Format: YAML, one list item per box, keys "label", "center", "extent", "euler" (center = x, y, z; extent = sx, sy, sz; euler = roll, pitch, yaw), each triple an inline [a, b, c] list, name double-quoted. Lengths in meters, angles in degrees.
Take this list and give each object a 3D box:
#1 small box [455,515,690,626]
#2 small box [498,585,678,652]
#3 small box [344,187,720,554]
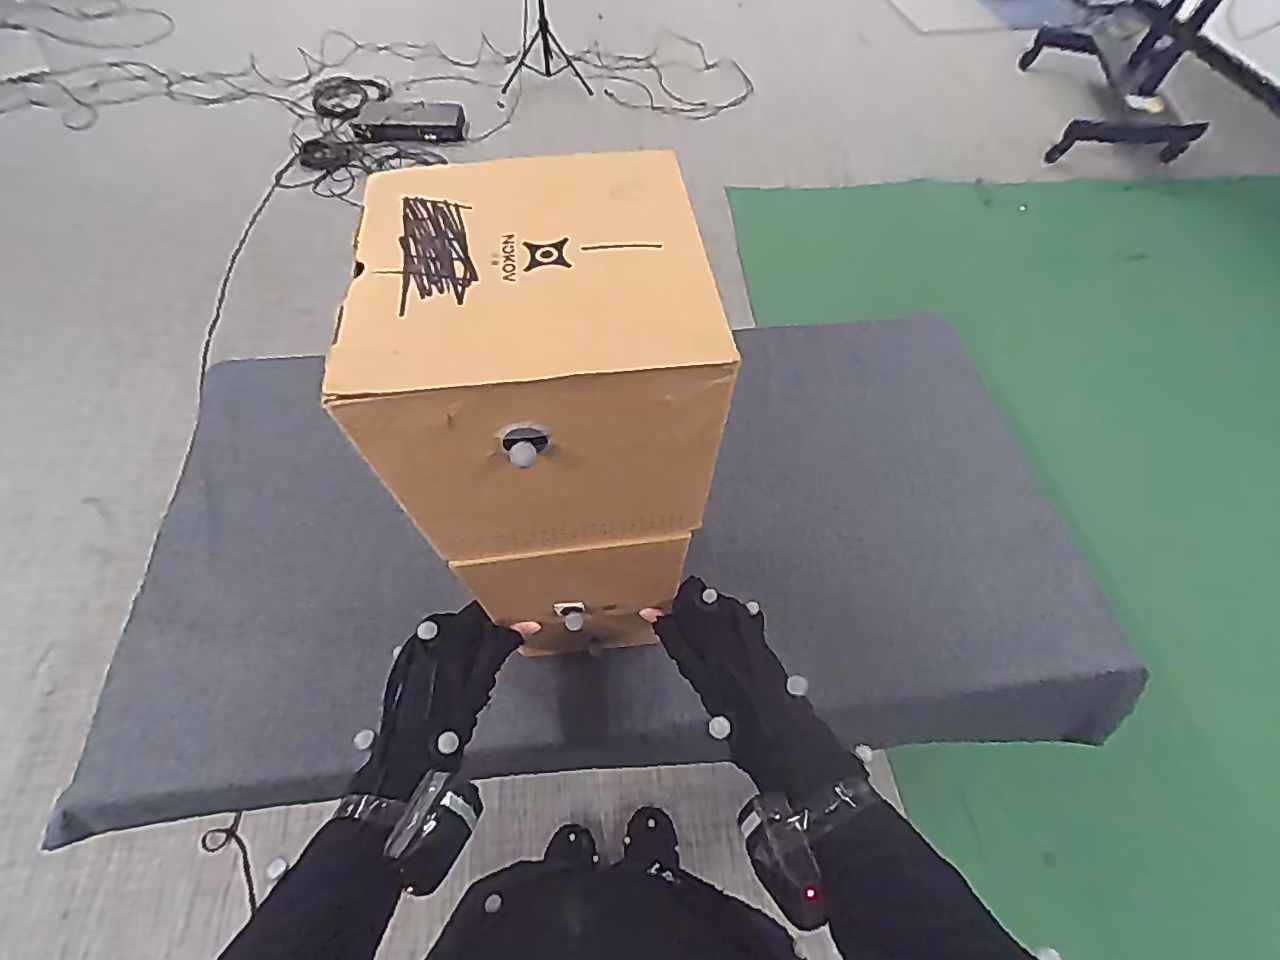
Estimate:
- label: "small box"
  center: [-0.058, 0.014, 0.483]
  extent: [0.168, 0.176, 0.179]
  euler: [-7, 61, -5]
- label: "small box"
  center: [-0.062, 0.091, 0.626]
  extent: [0.179, 0.176, 0.168]
  euler: [-5, 59, -6]
- label: "small box"
  center: [-0.057, -0.060, 0.355]
  extent: [0.179, 0.176, 0.168]
  euler: [-6, 60, -5]
